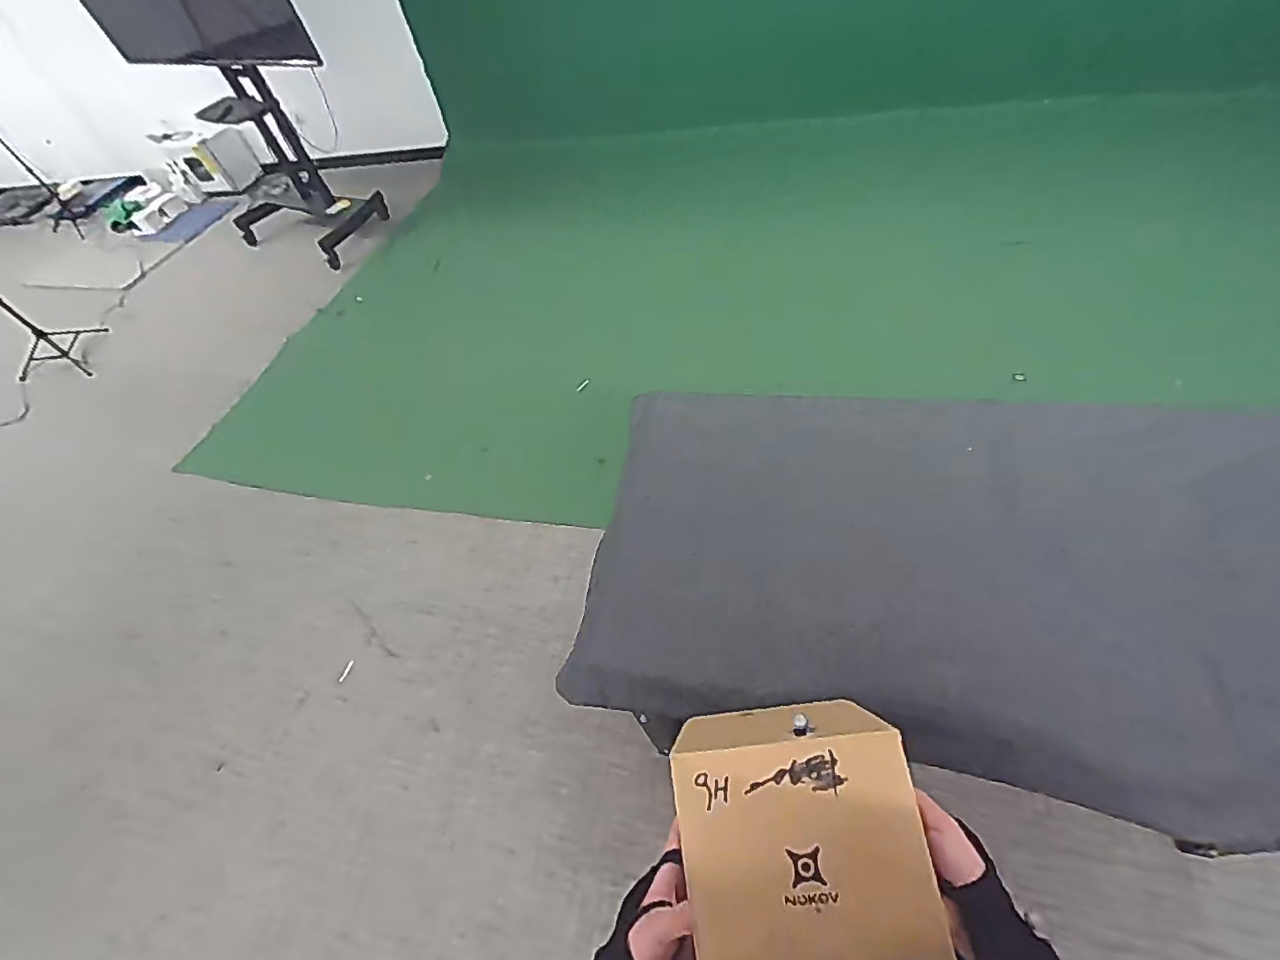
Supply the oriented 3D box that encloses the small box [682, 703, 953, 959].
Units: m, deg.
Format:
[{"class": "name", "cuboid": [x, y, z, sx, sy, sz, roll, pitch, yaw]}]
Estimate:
[{"class": "small box", "cuboid": [0.133, 0.299, 0.452, 0.168, 0.176, 0.179, -9, 74, 6]}]
